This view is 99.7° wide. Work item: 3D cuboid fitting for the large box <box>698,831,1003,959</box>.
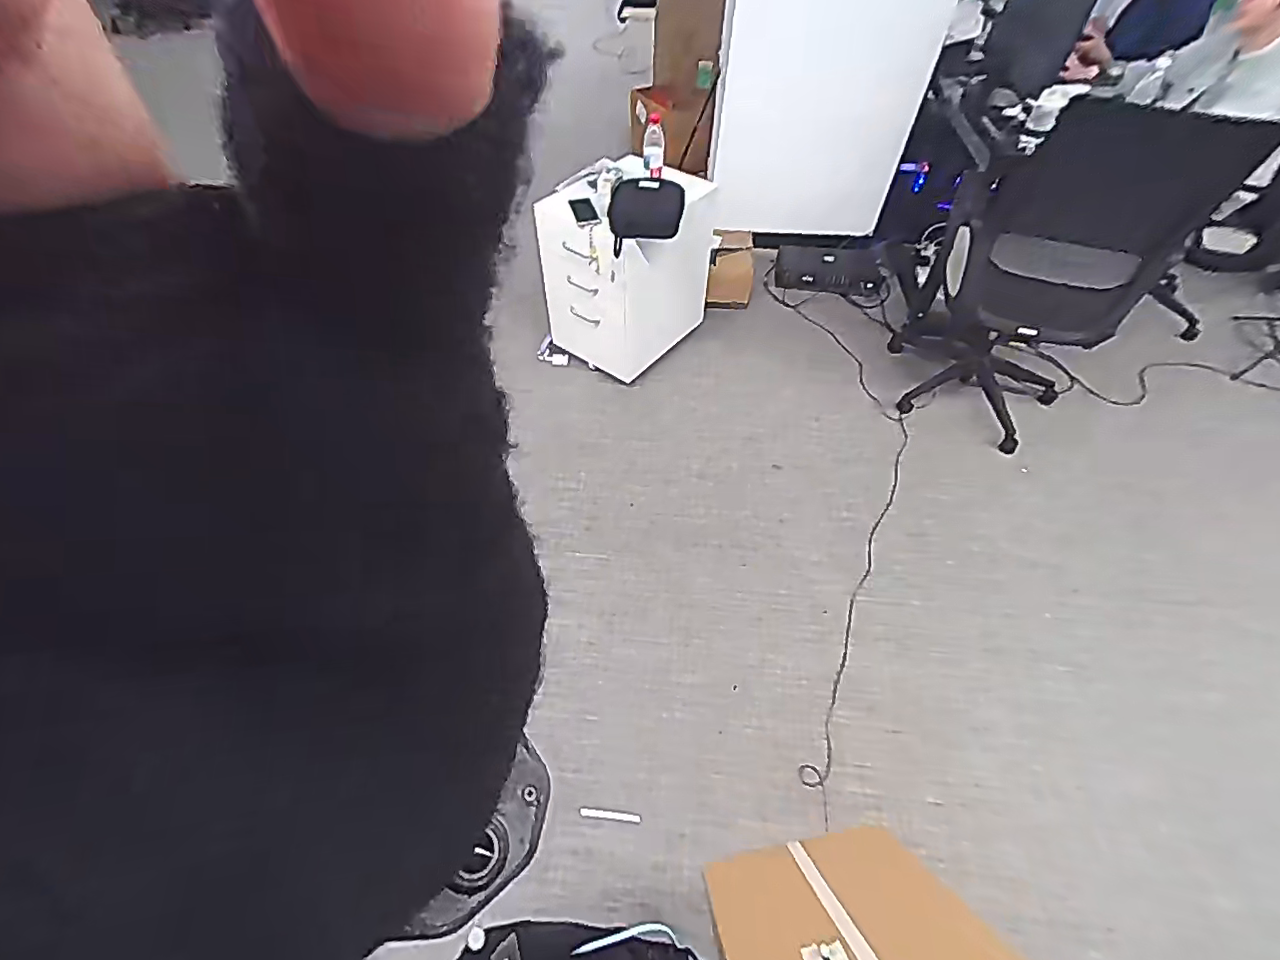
[{"bbox_3d":[0.278,0.725,0.678,0.320,0.408,0.320,-10,82,-4],"label":"large box"}]
